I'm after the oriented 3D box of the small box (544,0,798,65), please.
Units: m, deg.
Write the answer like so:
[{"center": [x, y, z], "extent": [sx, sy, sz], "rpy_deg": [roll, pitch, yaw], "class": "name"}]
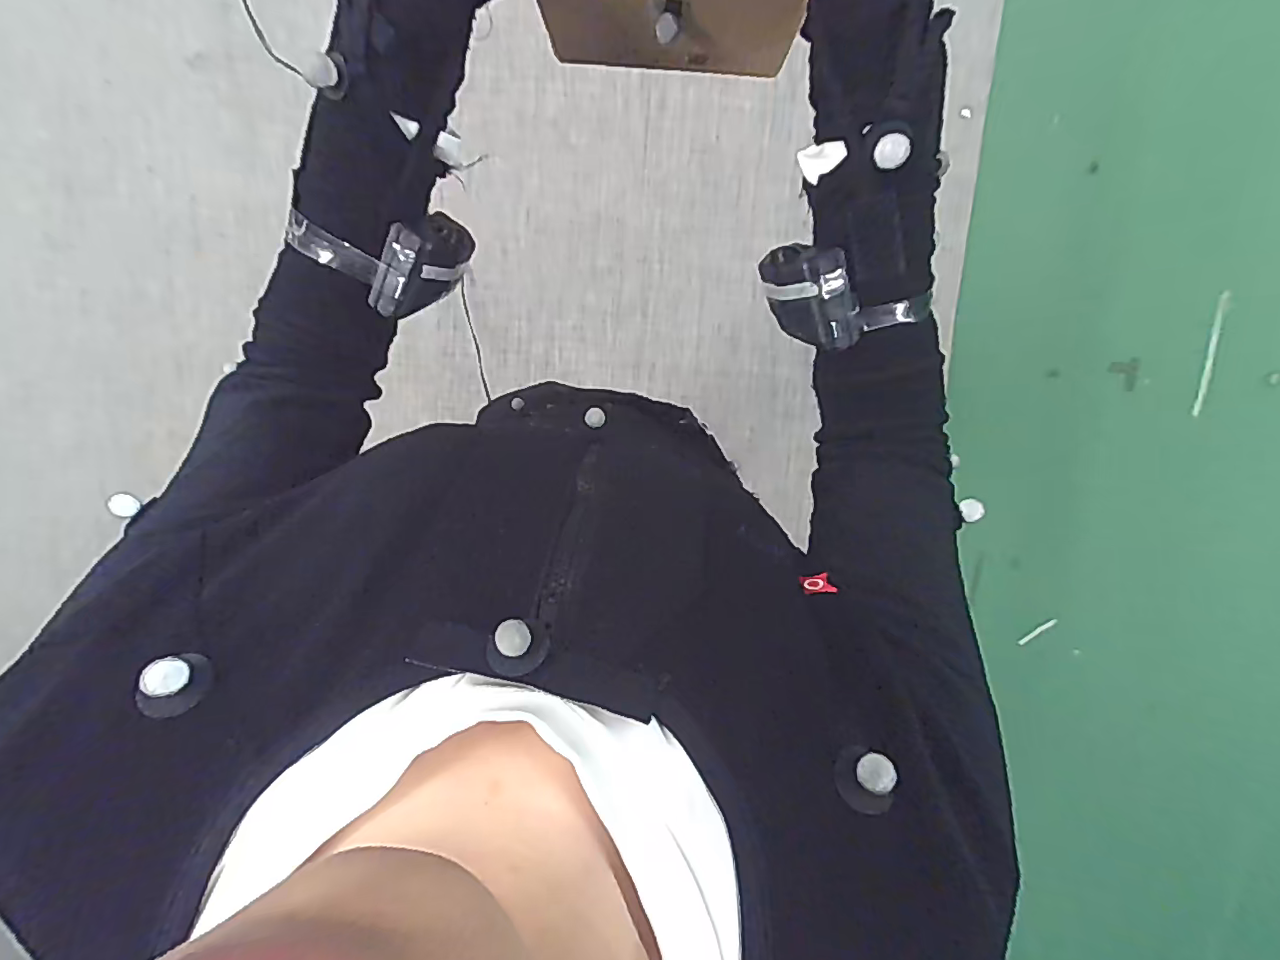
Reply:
[{"center": [0.022, -0.369, 0.302], "extent": [0.168, 0.176, 0.179], "rpy_deg": [5, 105, 2], "class": "small box"}]
